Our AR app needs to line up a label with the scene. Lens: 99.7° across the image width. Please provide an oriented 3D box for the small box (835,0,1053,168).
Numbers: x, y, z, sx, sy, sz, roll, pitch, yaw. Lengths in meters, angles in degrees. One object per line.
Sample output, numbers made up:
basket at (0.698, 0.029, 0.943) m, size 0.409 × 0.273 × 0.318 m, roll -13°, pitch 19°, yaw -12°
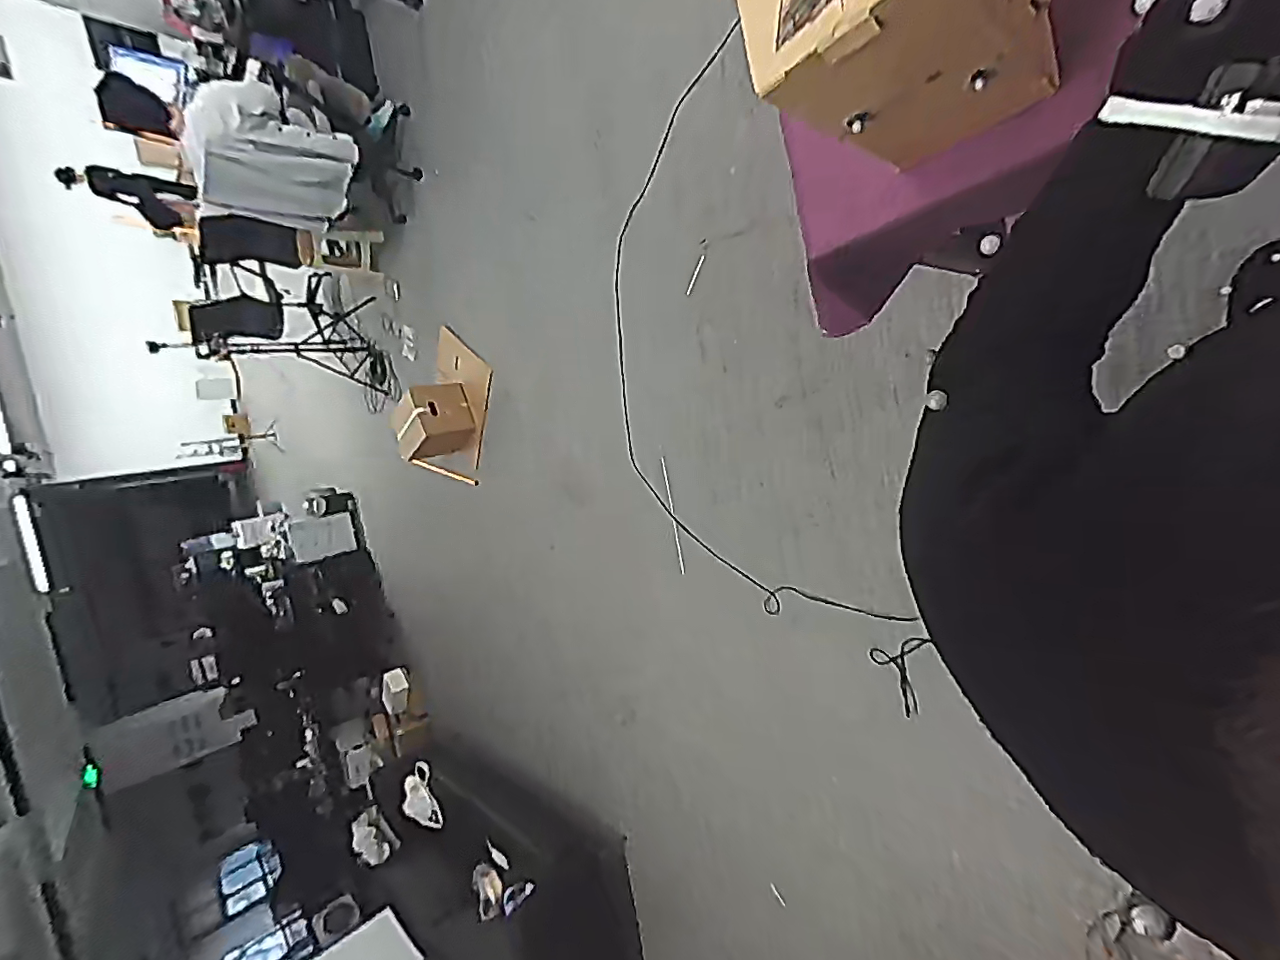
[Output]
small box at (0.323, -0.479, 0.597) m, size 0.179 × 0.176 × 0.168 m, roll -9°, pitch 94°, yaw 47°

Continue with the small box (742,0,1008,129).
small box at (0.206, -0.452, 0.485) m, size 0.168 × 0.176 × 0.179 m, roll -9°, pitch 92°, yaw 47°
